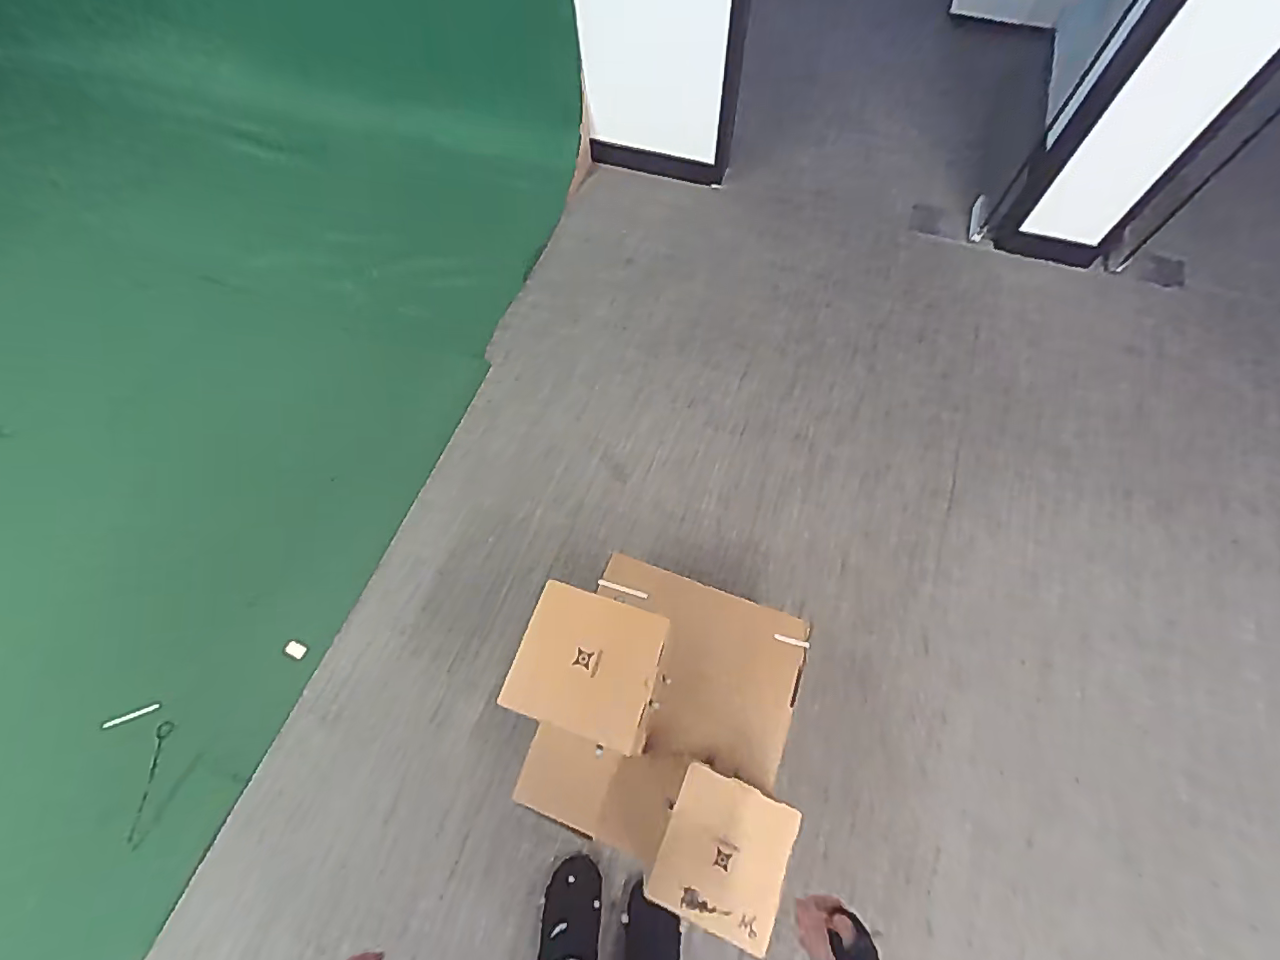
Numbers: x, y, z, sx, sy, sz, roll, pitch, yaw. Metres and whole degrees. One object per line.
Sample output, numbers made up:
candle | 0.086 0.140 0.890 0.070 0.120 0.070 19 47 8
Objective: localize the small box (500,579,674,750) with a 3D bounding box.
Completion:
small box | -0.062 0.259 0.745 0.179 0.176 0.168 17 65 9

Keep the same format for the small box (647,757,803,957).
small box | 0.115 0.527 0.791 0.168 0.176 0.179 22 67 11

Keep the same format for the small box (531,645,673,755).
small box | -0.053 0.335 0.889 0.179 0.176 0.168 16 65 10
